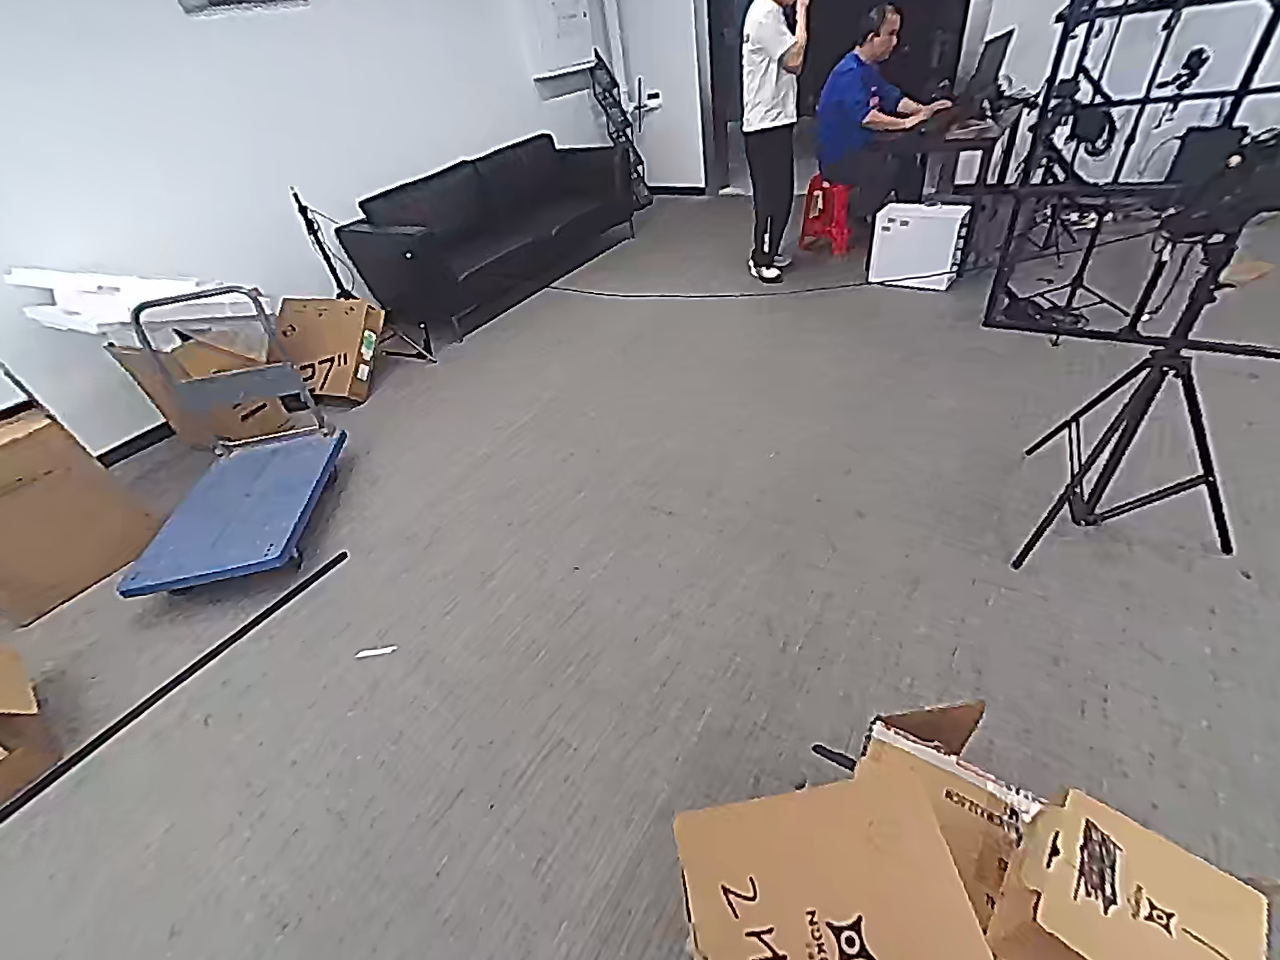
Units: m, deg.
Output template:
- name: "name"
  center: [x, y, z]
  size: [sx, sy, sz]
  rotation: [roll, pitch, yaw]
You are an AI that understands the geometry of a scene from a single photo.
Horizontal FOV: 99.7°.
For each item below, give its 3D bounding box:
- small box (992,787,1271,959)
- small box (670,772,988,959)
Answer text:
- name: "small box"
  center: [0.529, 0.497, 0.604]
  size: [0.179, 0.176, 0.168]
  rotation: [26, 53, 32]
- name: "small box"
  center: [0.127, 0.326, 0.393]
  size: [0.179, 0.176, 0.168]
  rotation: [-13, 54, 2]
